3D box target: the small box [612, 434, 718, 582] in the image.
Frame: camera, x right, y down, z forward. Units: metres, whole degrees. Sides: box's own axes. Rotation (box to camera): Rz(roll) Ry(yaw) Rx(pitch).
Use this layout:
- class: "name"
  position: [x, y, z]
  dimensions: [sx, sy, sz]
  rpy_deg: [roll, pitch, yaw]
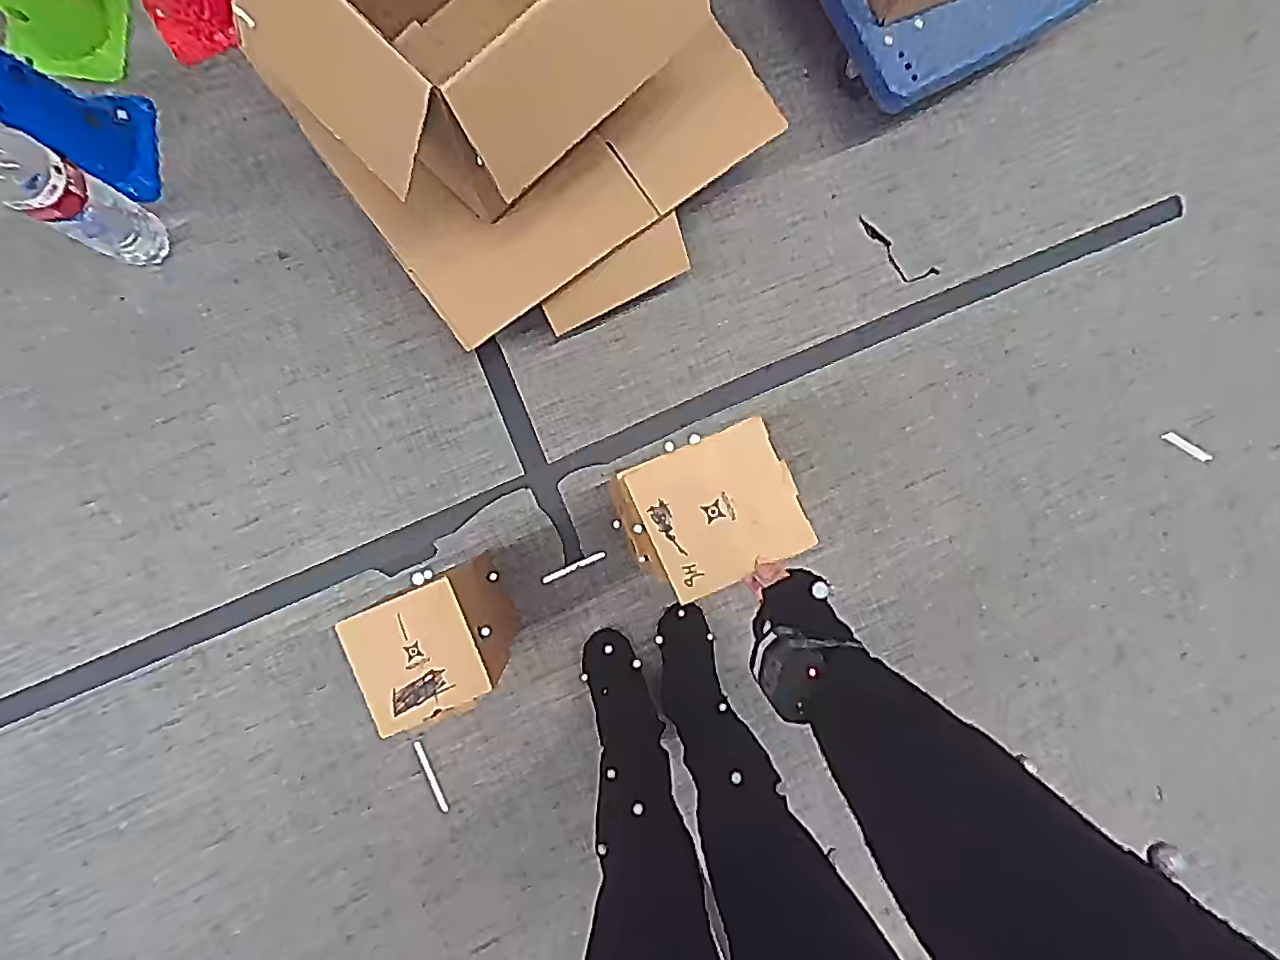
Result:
- class: "small box"
  position: [0.062, 0.043, 0.870]
  dimensions: [0.168, 0.176, 0.179]
  rpy_deg: [-23, 93, -7]

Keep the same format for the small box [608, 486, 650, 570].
- class: "small box"
  position: [0.048, 0.057, 1.032]
  dimensions: [0.179, 0.176, 0.168]
  rpy_deg: [-18, 91, -7]

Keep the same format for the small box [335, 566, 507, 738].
- class: "small box"
  position: [-0.318, 0.248, 0.825]
  dimensions: [0.168, 0.176, 0.179]
  rpy_deg: [-22, 90, -6]

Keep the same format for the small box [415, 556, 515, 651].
- class: "small box"
  position: [-0.341, 0.251, 0.988]
  dimensions: [0.179, 0.176, 0.168]
  rpy_deg: [-25, 91, -5]

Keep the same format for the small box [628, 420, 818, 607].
- class: "small box"
  position: [0.093, 0.038, 0.694]
  dimensions: [0.179, 0.176, 0.168]
  rpy_deg: [-24, 89, 0]
